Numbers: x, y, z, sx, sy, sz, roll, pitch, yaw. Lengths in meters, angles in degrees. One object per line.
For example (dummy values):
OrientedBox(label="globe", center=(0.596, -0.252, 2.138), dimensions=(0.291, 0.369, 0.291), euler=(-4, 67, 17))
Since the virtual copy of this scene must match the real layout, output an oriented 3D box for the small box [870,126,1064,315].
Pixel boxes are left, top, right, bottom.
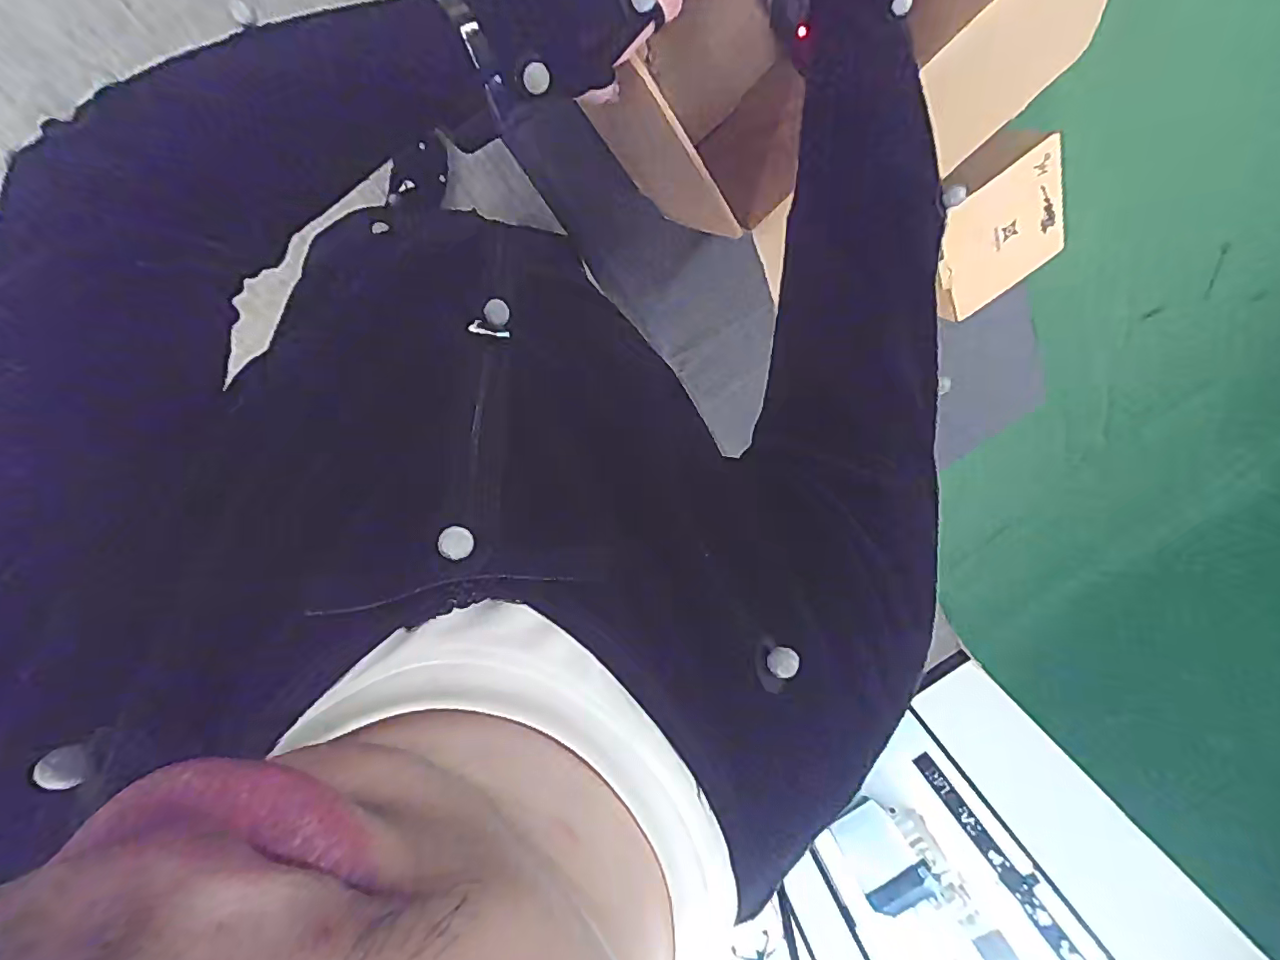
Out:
OrientedBox(label="small box", center=(0.454, -0.372, 0.771), dimensions=(0.179, 0.176, 0.168), euler=(-33, 128, 6))
